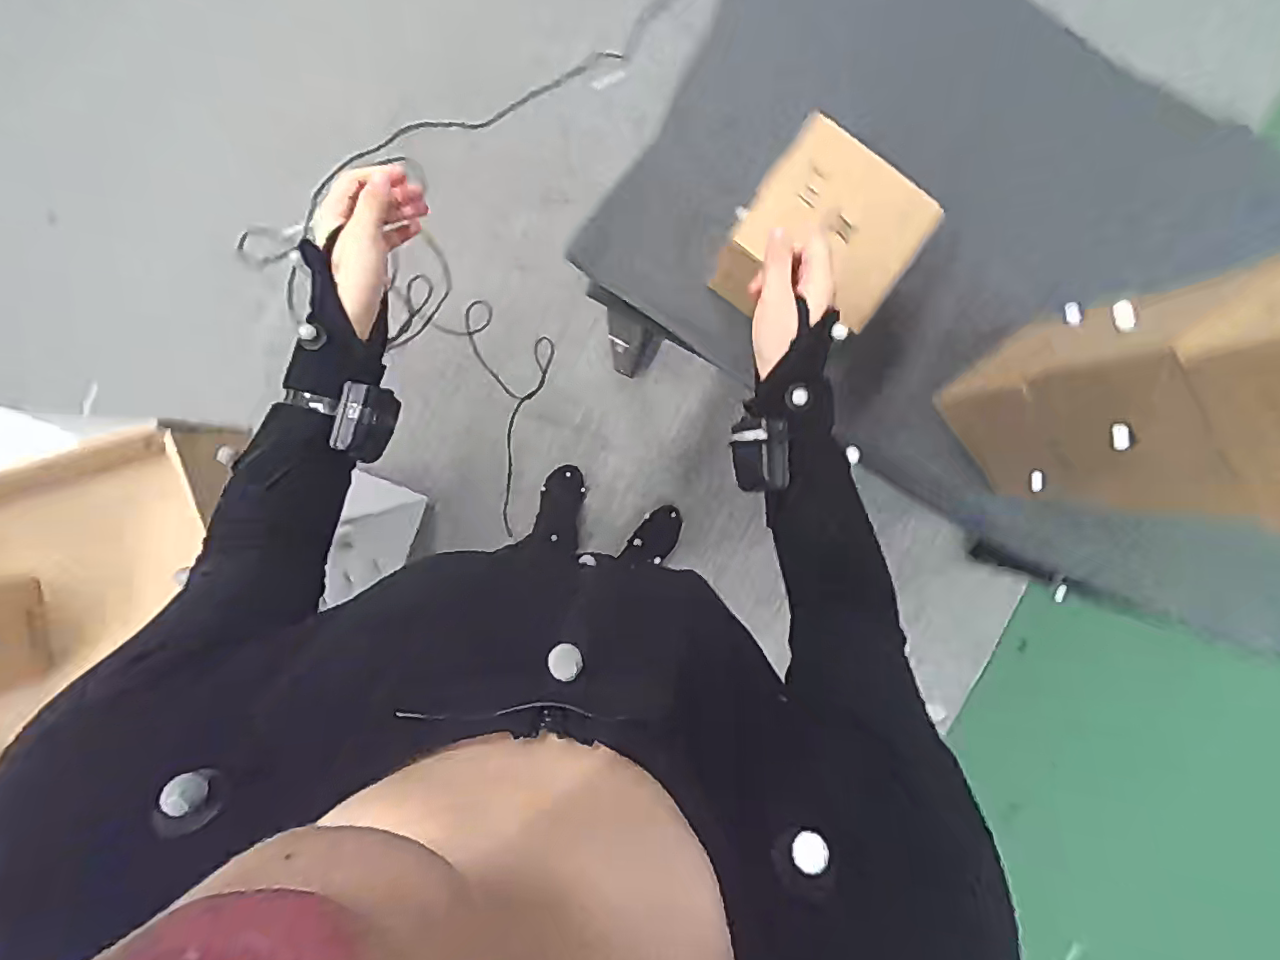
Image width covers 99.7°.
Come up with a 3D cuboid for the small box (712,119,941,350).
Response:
[{"bbox_3d":[0.212,-0.279,0.666,0.179,0.176,0.168,36,92,-3],"label":"small box"}]

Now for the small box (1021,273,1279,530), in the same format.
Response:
[{"bbox_3d":[0.529,-0.075,0.522,0.168,0.176,0.179,-29,92,-1],"label":"small box"}]
